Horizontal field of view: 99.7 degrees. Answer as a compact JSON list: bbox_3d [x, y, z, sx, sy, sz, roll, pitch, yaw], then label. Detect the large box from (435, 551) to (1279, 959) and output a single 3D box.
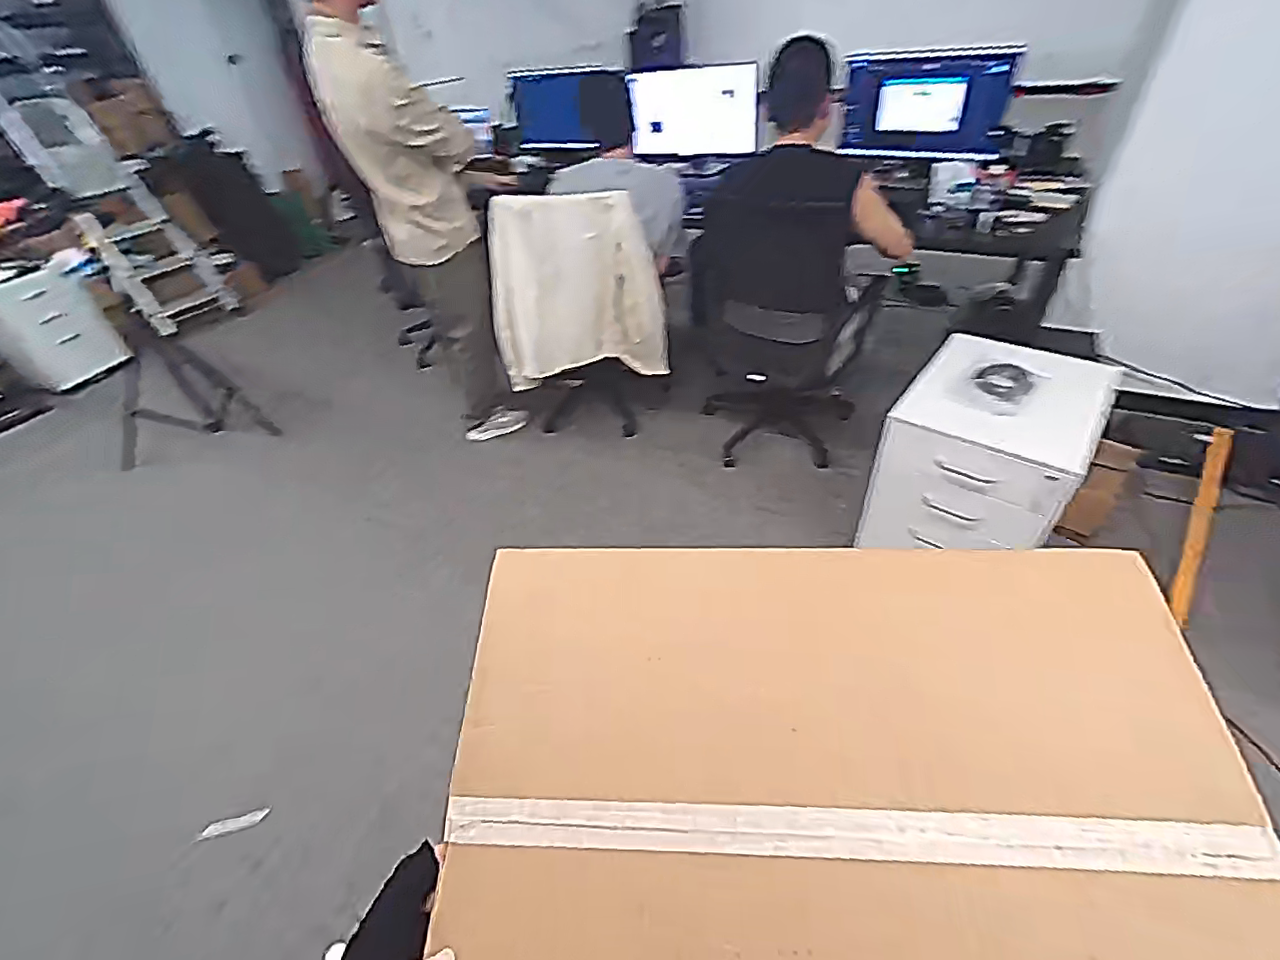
[{"bbox_3d":[0.107,0.261,0.408,0.408,0.320,0.320,-2,60,4],"label":"large box"}]
